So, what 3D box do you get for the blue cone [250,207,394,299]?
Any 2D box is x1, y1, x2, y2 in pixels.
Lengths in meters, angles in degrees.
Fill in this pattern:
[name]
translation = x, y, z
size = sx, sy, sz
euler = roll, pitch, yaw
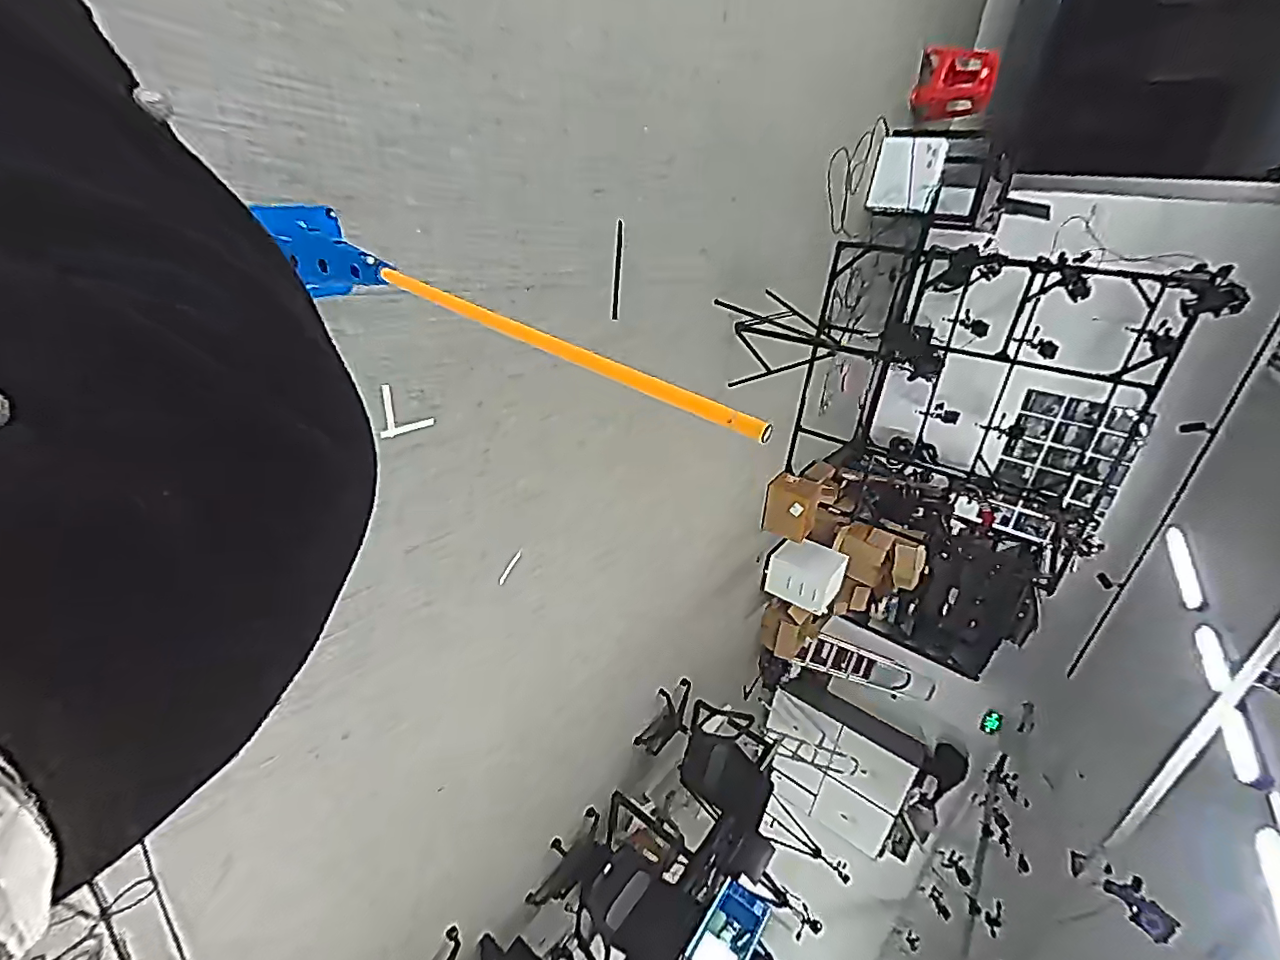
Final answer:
[blue cone]
translation = -0.645, -0.473, 1.163
size = 0.193, 0.380, 0.192
euler = -30, 132, -46
